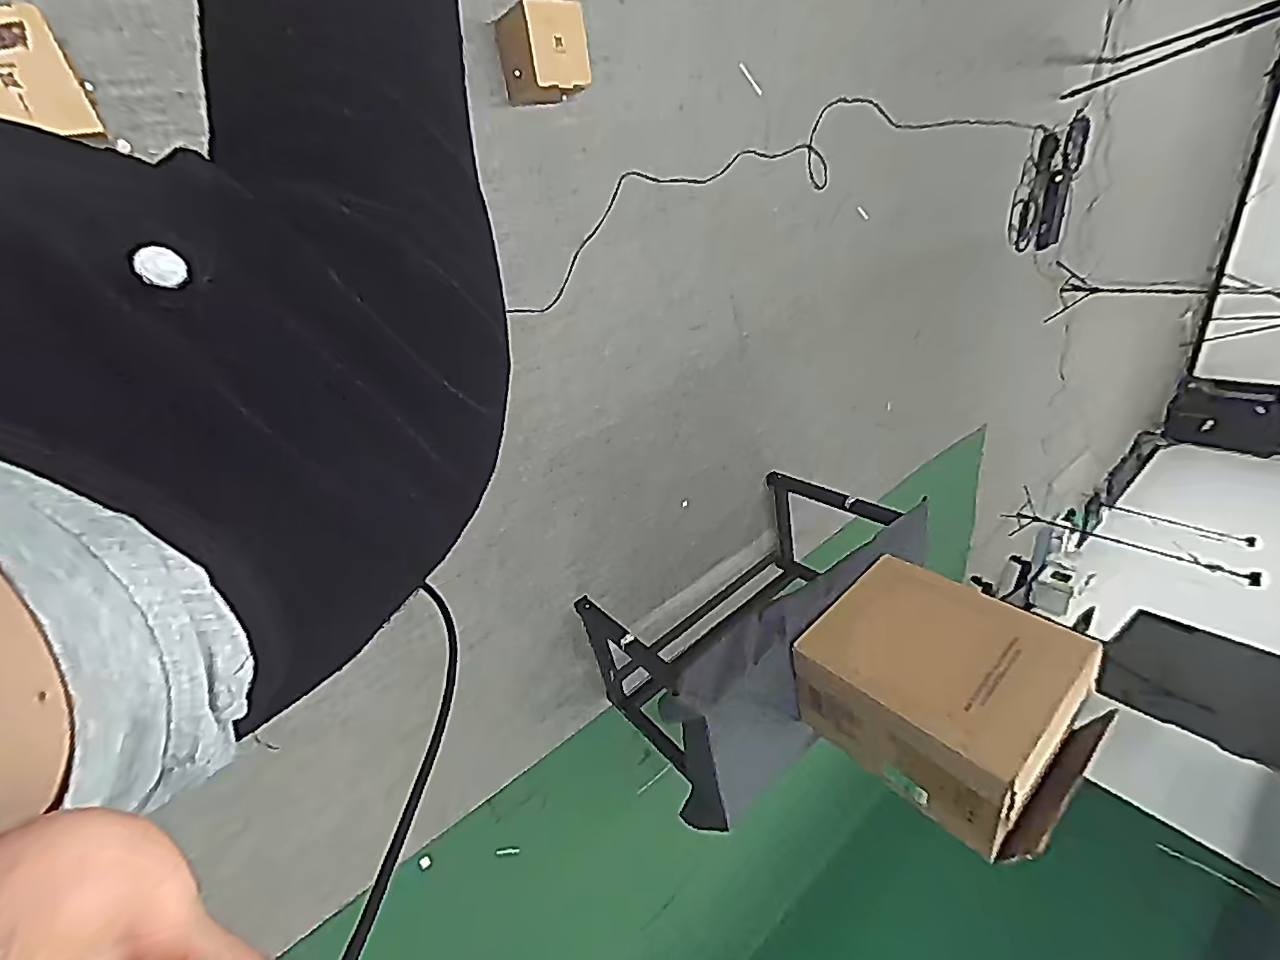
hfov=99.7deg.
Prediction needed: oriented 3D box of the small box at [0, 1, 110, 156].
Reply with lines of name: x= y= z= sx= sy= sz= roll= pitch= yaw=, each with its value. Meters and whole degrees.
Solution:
small box: x=-1.048 y=-0.665 z=0.908 sx=0.168 sy=0.176 sz=0.179 roll=-28 pitch=123 yaw=-28

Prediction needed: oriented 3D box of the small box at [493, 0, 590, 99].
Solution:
small box: x=-0.253 y=-1.098 z=1.386 sx=0.168 sy=0.176 sz=0.179 roll=-26 pitch=120 yaw=-30
